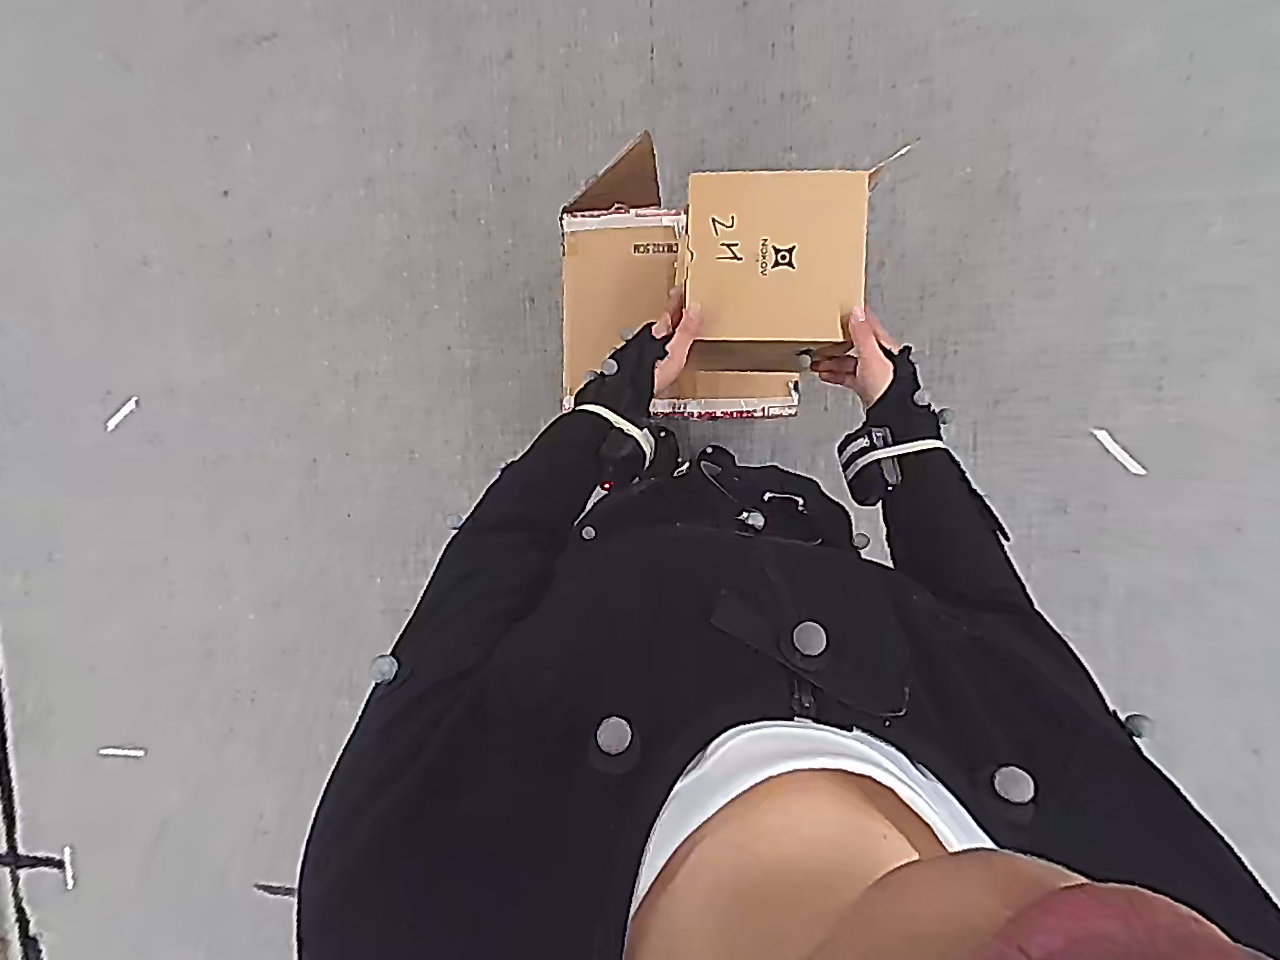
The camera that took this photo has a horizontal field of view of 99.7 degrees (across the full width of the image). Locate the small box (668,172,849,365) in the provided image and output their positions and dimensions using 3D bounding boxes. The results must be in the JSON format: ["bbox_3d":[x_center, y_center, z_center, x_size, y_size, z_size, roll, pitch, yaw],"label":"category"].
[{"bbox_3d":[0.121,-0.226,0.616,0.179,0.176,0.168,0,94,4],"label":"small box"}]
